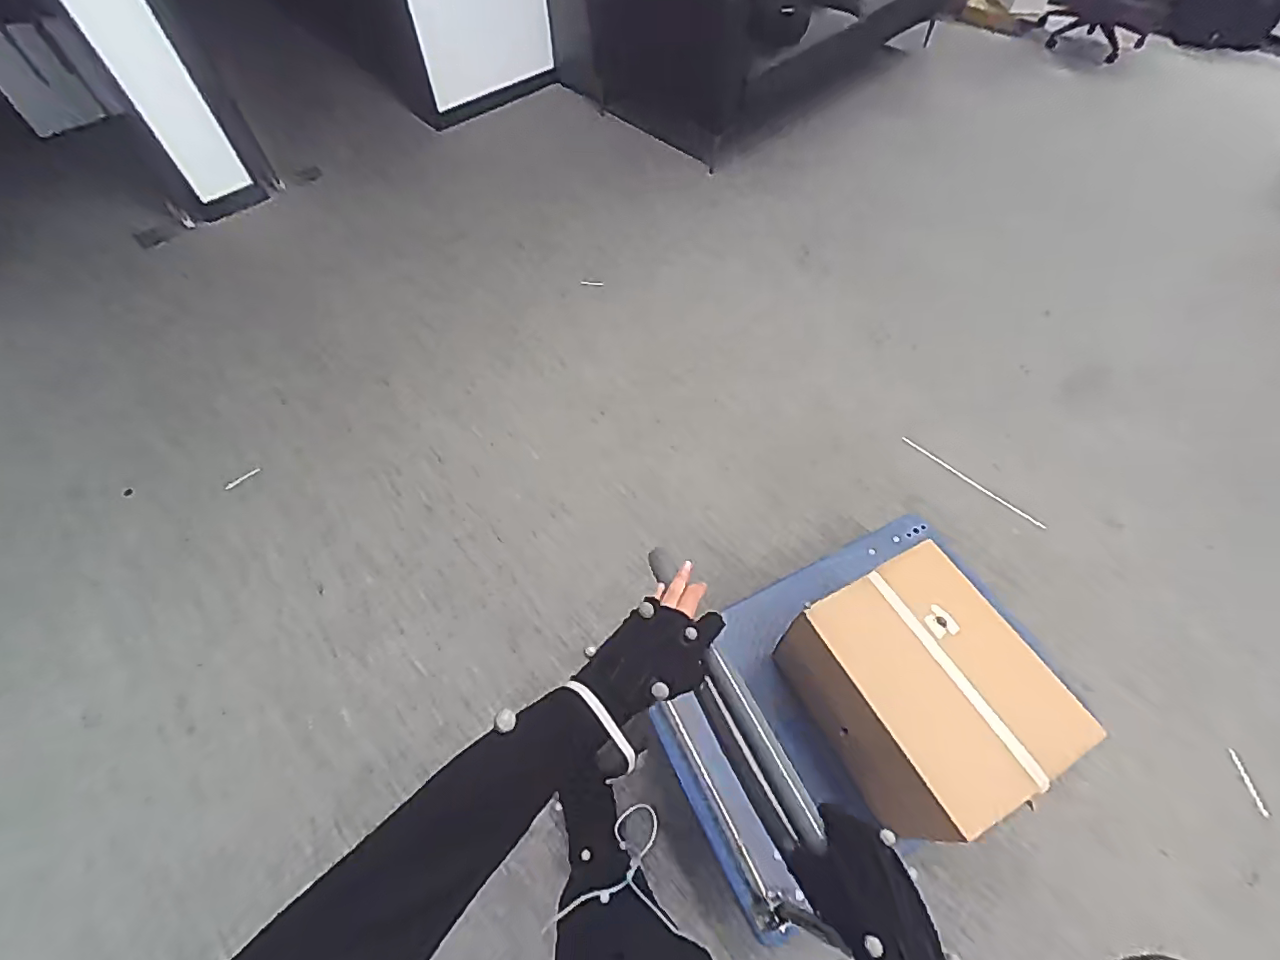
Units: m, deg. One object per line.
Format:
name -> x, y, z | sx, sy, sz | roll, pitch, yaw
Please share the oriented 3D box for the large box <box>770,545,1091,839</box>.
large box -> 0.517, 0.415, 1.065 | 0.320, 0.320, 0.408 | -24, 59, -14
